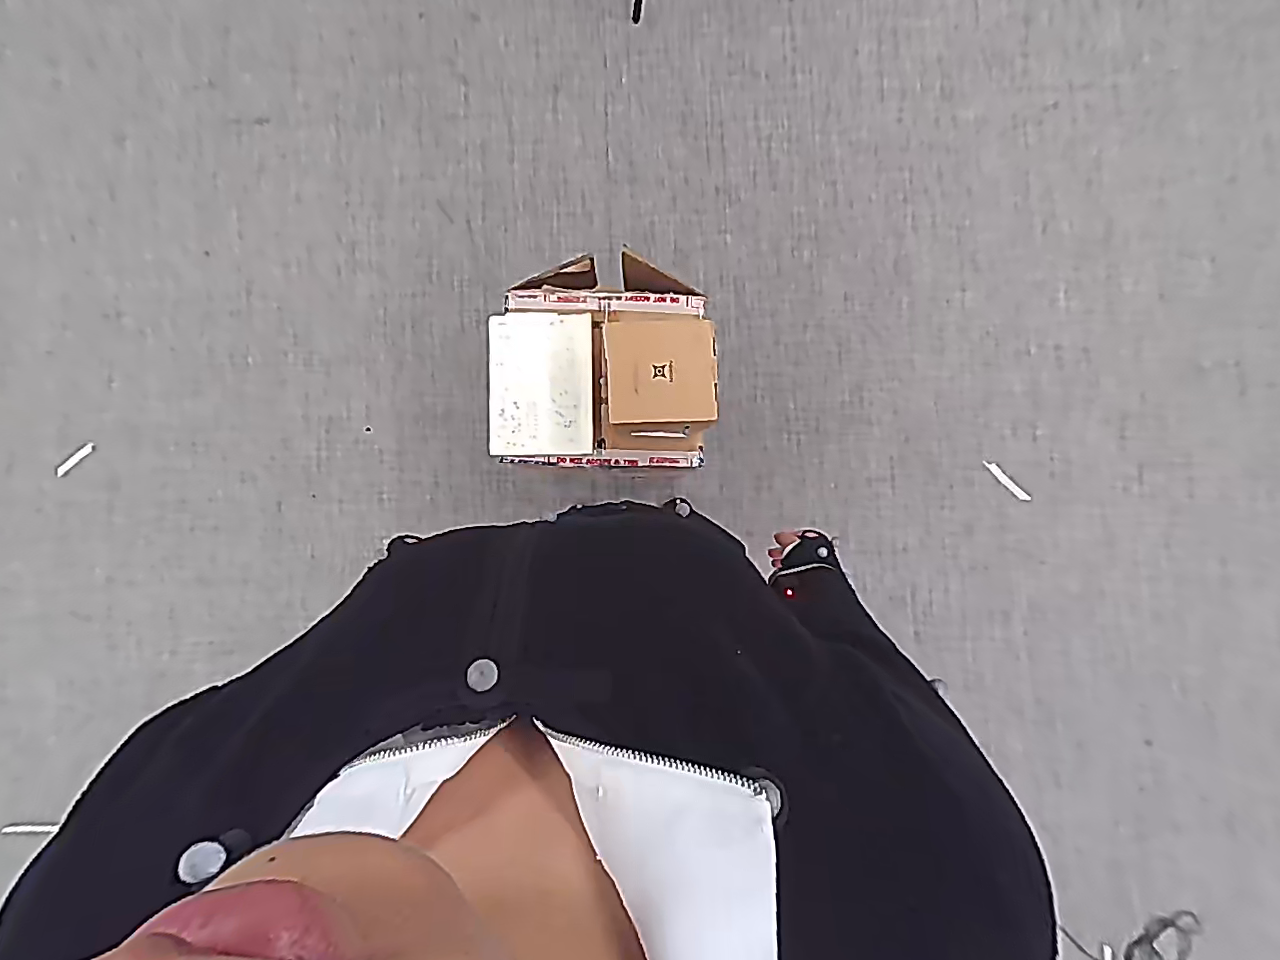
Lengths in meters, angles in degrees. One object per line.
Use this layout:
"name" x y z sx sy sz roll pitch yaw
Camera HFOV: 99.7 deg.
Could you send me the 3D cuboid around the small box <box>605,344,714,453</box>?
"small box" 0.029 -0.137 0.958 0.179 0.176 0.168 -3 89 -1
